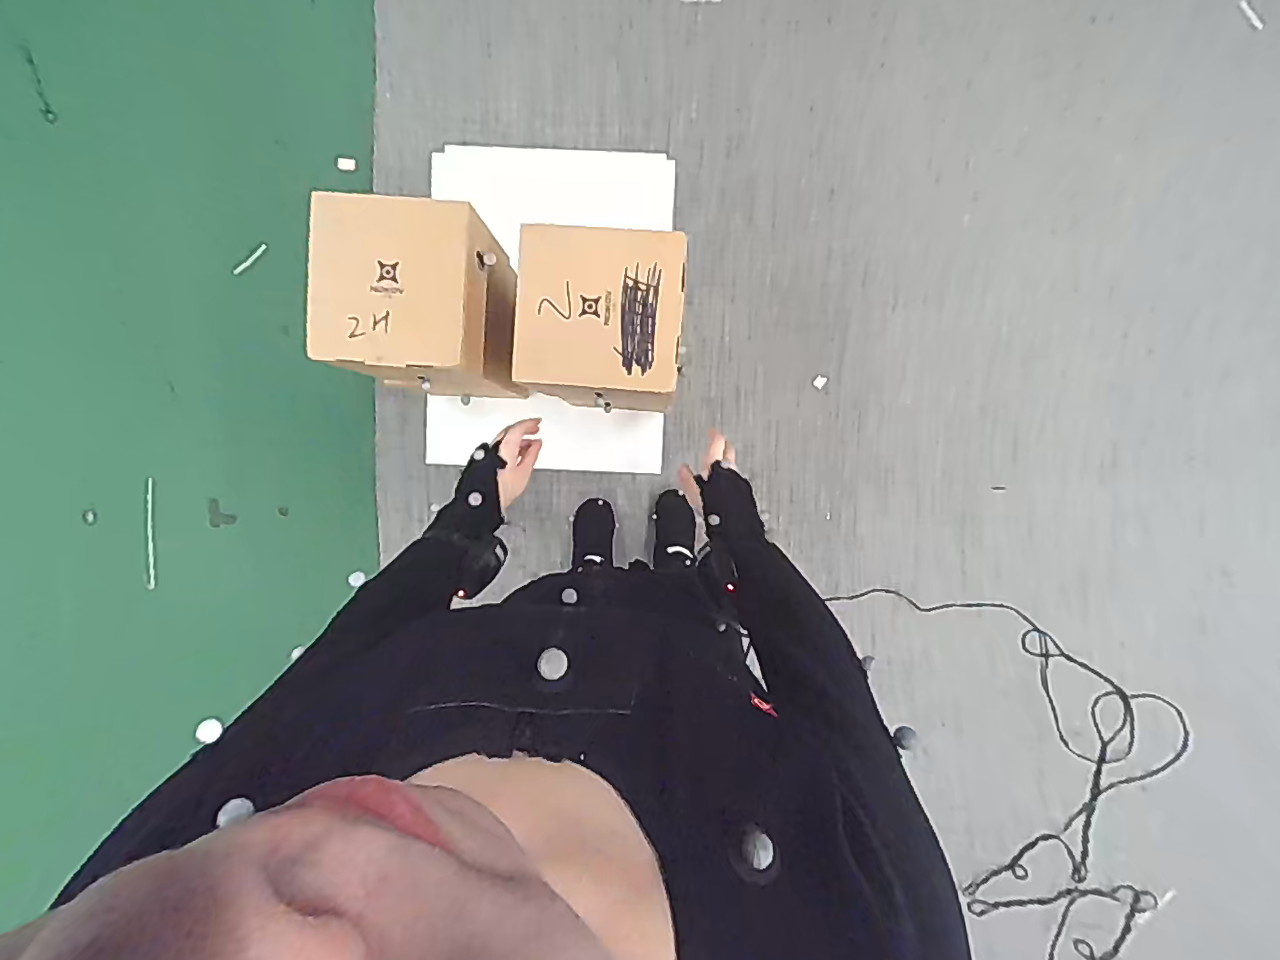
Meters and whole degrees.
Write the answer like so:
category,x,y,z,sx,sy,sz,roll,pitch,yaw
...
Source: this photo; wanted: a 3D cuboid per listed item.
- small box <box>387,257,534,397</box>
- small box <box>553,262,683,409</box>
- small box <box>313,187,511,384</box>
category,x,y,z,sx,sy,sz,roll,pitch,yaw
small box,-0.259,-0.223,0.811,0.168,0.176,0.179,3,94,1
small box,-0.028,-0.204,0.806,0.168,0.176,0.179,4,94,3
small box,-0.257,-0.218,0.646,0.168,0.176,0.179,4,94,1
